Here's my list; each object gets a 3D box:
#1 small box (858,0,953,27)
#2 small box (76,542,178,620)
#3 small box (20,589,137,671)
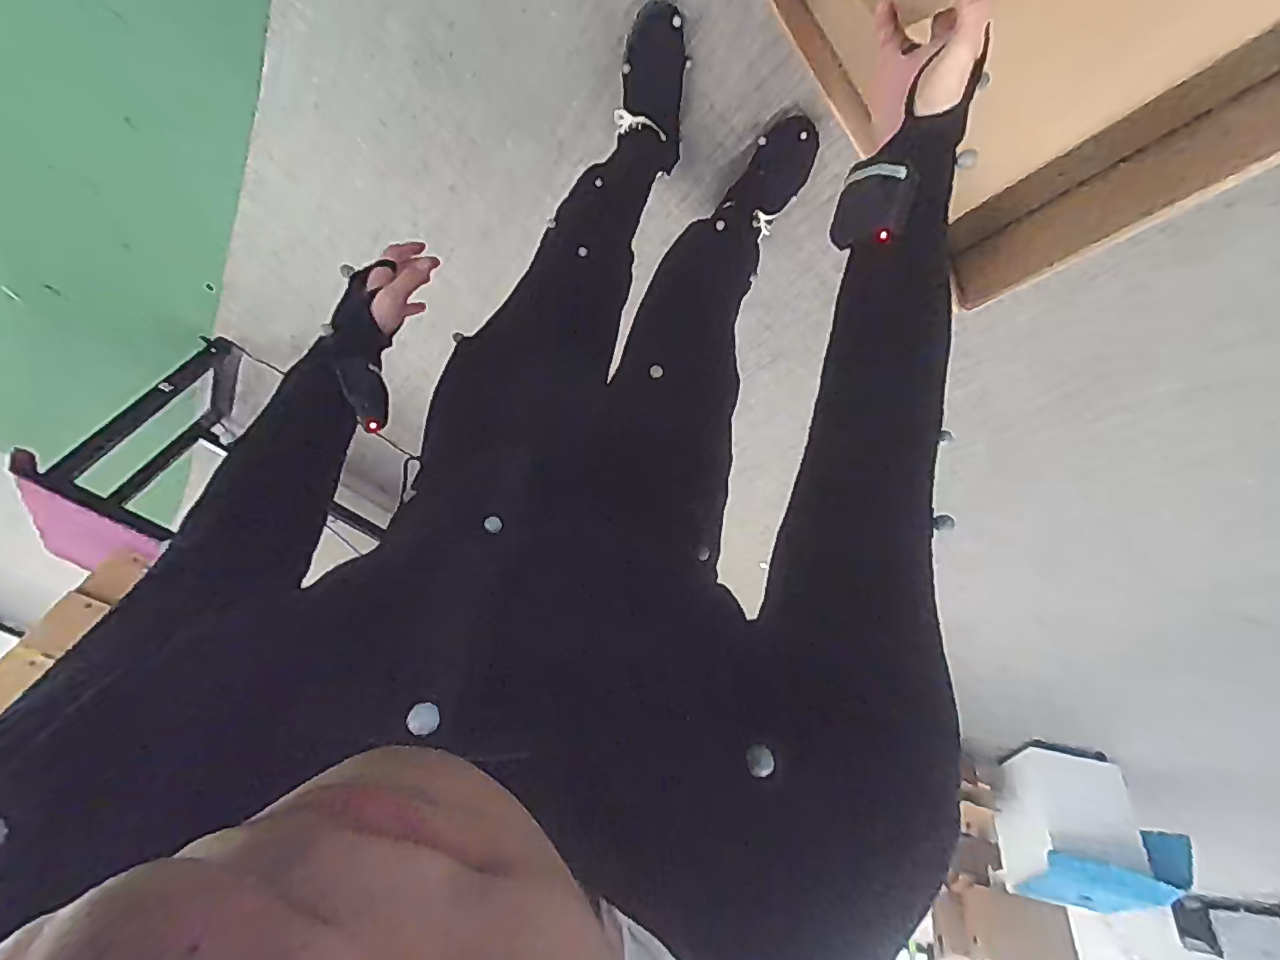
[{"bbox_3d":[0.229,-0.481,0.387,0.168,0.176,0.179,40,118,-19],"label":"small box"},{"bbox_3d":[-1.583,0.317,1.678,0.168,0.176,0.179,37,137,-24],"label":"small box"},{"bbox_3d":[-1.609,0.432,1.563,0.168,0.176,0.179,36,139,-22],"label":"small box"}]
